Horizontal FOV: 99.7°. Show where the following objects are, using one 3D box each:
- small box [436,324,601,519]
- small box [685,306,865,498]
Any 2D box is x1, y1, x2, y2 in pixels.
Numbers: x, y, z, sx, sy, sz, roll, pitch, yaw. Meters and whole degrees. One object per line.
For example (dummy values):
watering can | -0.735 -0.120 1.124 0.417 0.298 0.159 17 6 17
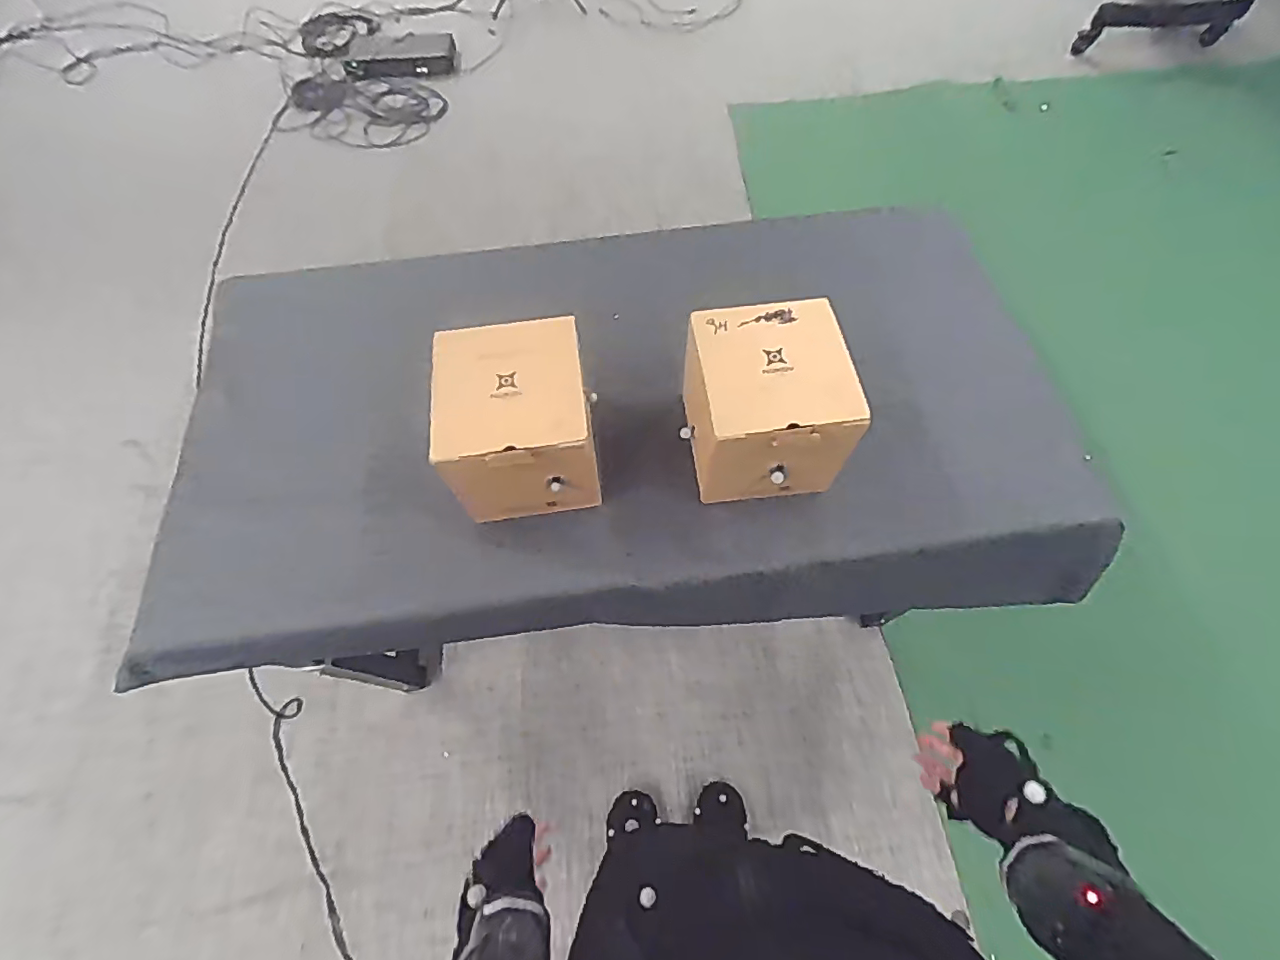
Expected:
small box | -0.142 -0.062 0.672 0.168 0.176 0.179 -8 62 -4
small box | 0.151 -0.086 0.675 0.168 0.176 0.179 -6 64 -2
